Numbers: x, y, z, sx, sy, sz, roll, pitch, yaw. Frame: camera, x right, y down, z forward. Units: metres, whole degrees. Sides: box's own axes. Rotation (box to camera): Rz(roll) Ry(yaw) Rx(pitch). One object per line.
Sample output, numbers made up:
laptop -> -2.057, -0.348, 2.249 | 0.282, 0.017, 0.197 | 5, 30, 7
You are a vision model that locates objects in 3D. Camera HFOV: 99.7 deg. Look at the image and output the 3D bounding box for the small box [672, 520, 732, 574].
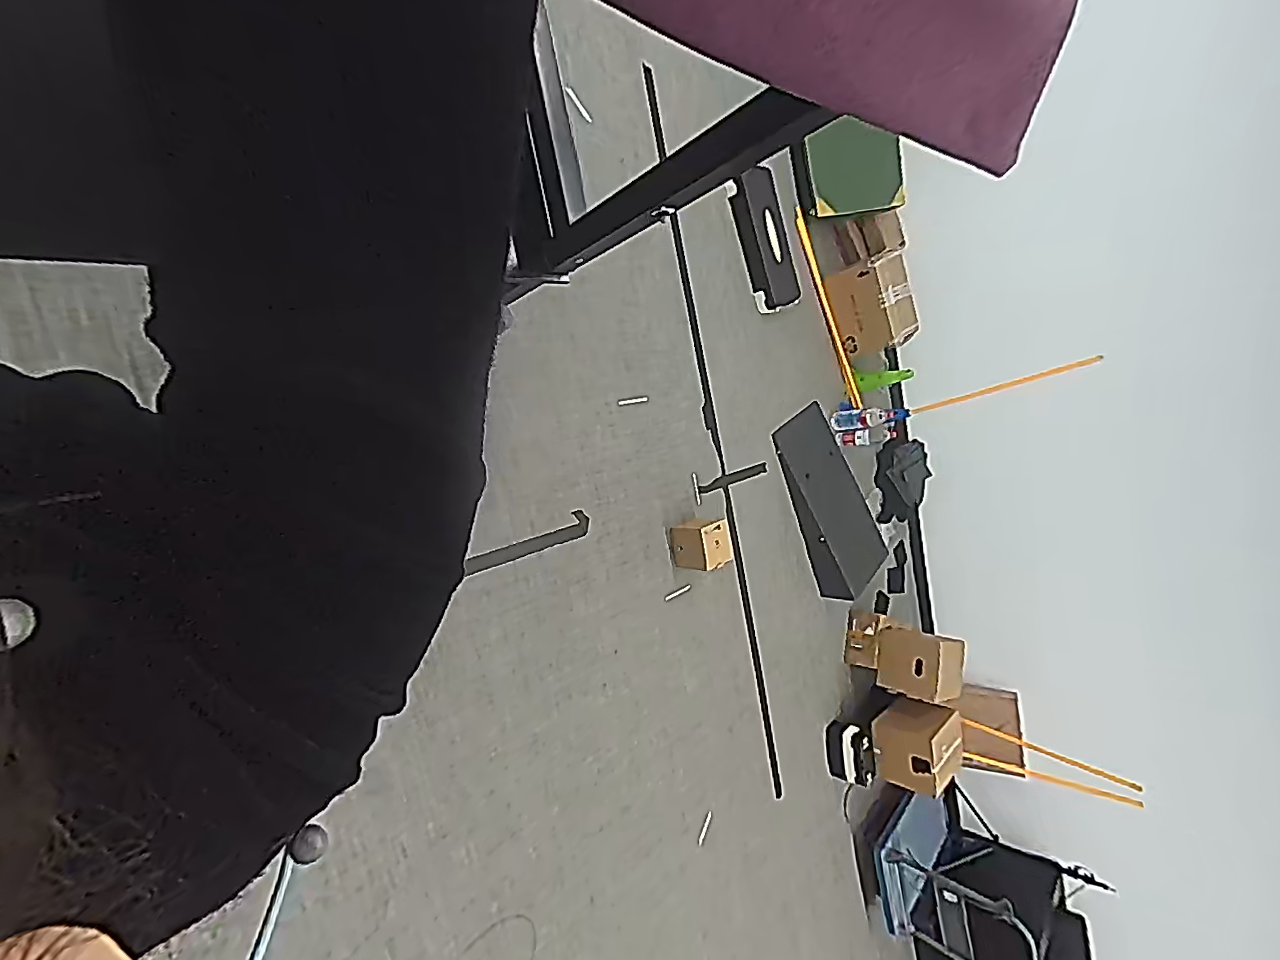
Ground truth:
small box -> 0.250, 0.265, 2.192 | 0.168, 0.176, 0.179 | -15, 99, -42
